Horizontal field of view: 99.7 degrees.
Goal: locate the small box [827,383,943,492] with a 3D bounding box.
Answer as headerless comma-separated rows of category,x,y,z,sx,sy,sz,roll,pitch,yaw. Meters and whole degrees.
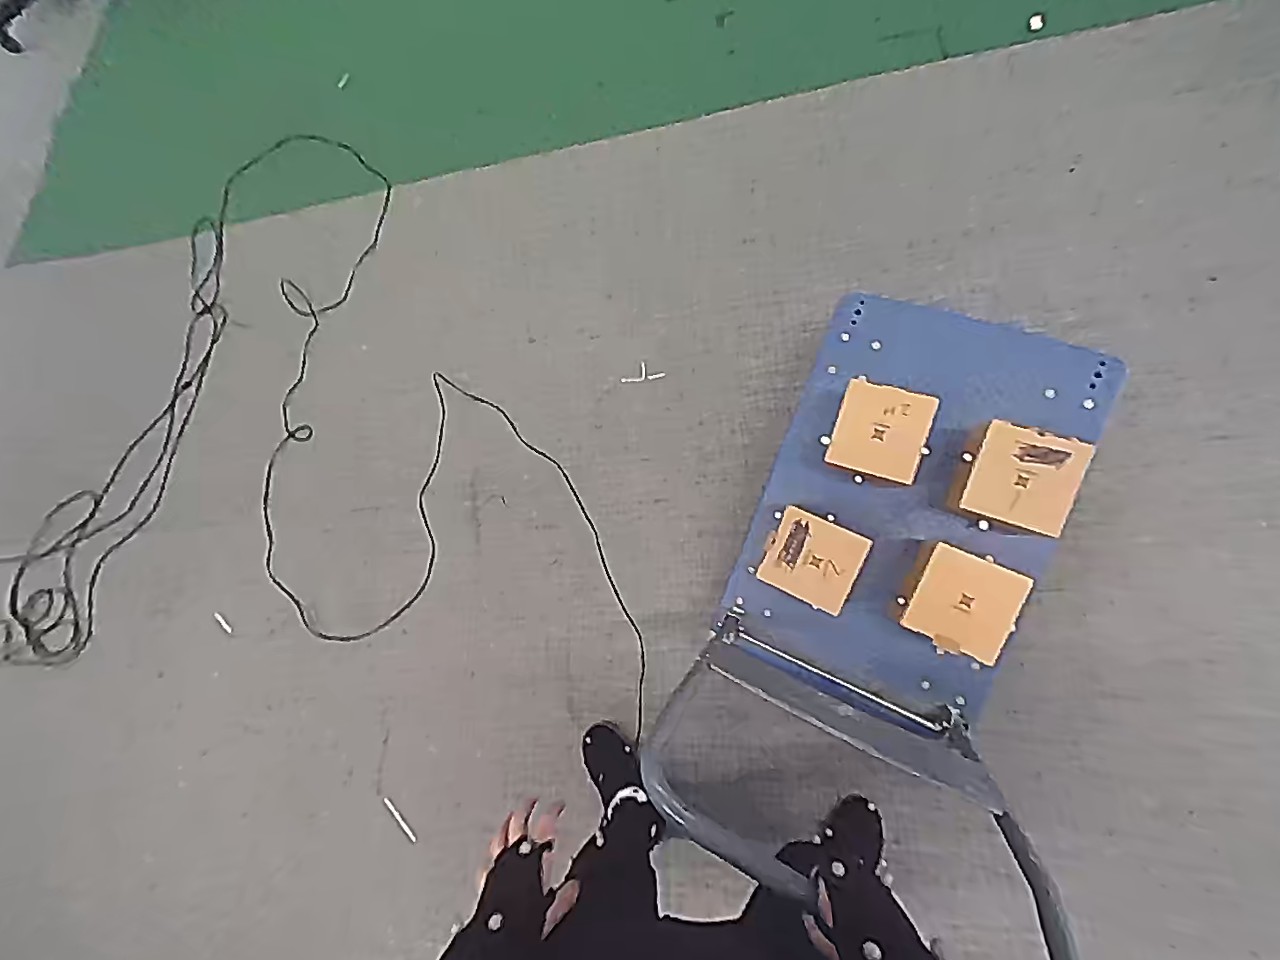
small box,0.497,-0.080,1.119,0.168,0.176,0.179,19,92,18

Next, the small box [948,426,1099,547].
small box,0.719,0.014,1.038,0.168,0.176,0.179,21,93,19
